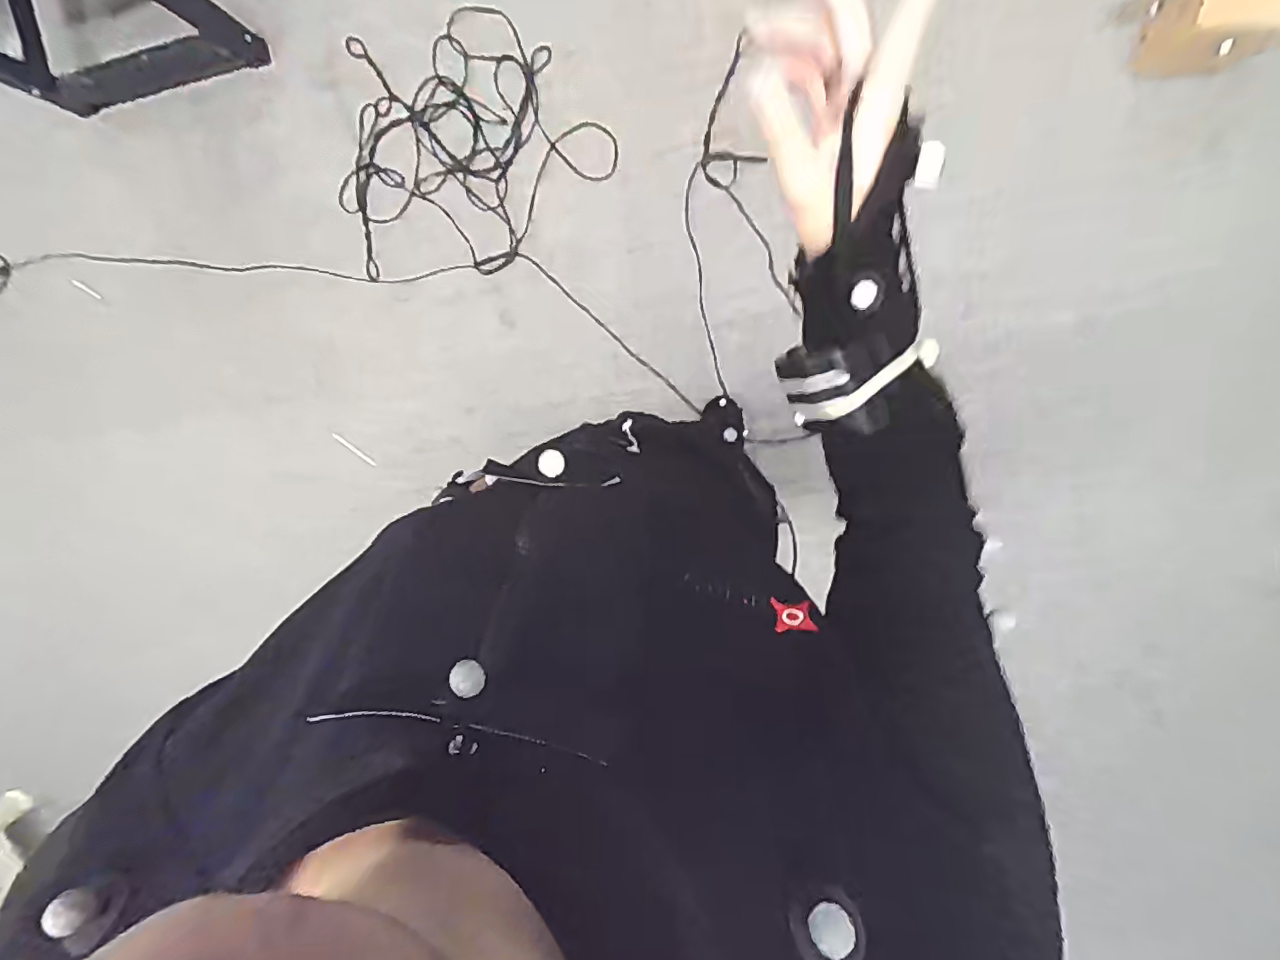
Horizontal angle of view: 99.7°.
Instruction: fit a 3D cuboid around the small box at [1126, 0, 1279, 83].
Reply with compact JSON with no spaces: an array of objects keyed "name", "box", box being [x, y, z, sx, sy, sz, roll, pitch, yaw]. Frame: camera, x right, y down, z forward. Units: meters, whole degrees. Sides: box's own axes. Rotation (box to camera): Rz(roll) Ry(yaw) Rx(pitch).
[{"name":"small box","box":[1.057,-0.860,0.987,0.179,0.176,0.168,4,101,7]}]
